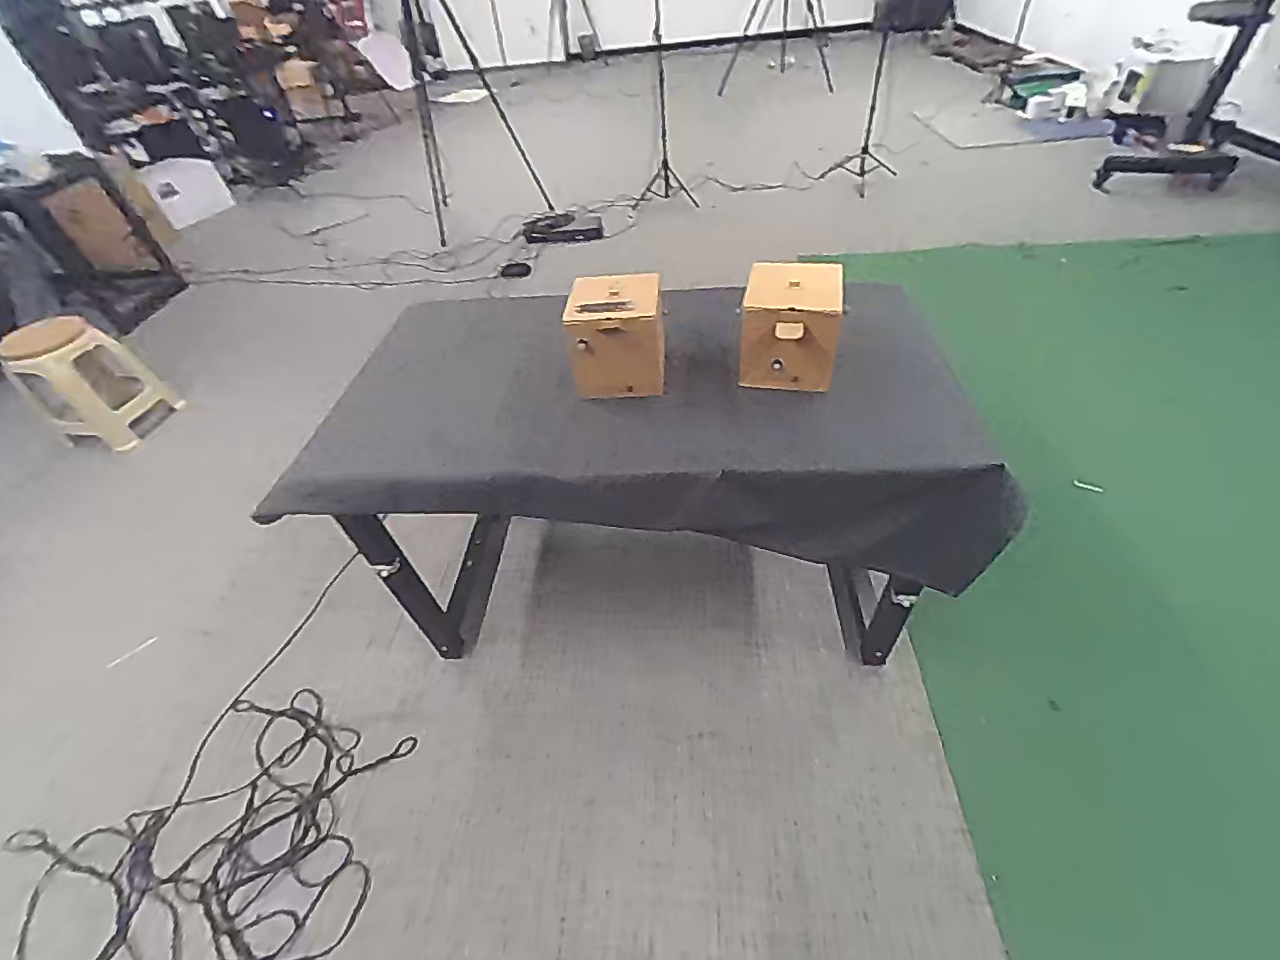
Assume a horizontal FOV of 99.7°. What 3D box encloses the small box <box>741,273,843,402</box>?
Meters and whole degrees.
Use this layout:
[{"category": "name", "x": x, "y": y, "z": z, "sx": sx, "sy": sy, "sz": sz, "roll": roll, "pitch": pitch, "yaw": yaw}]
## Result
[{"category": "small box", "x": 0.284, "y": -0.272, "z": 1.024, "sx": 0.168, "sy": 0.176, "sz": 0.179, "roll": 7, "pitch": 47, "yaw": 13}]
